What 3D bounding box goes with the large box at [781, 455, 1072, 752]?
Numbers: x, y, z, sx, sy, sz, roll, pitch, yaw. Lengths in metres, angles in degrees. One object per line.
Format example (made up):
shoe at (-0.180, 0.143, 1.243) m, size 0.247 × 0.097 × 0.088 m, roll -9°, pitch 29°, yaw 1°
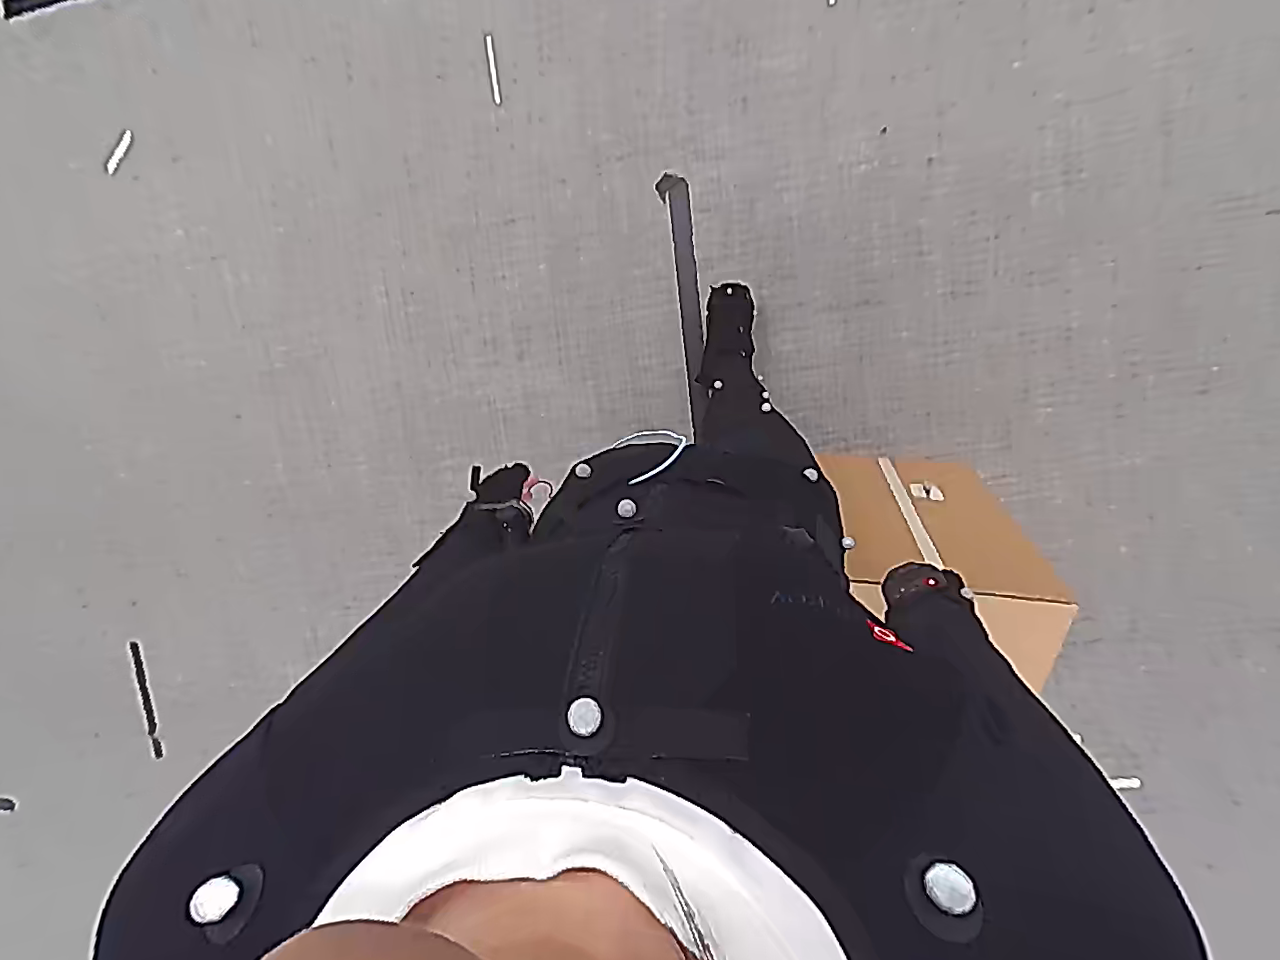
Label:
large box at (0.423, 0.181, 0.930) m, size 0.320 × 0.408 × 0.320 m, roll 5°, pitch 116°, yaw 9°
